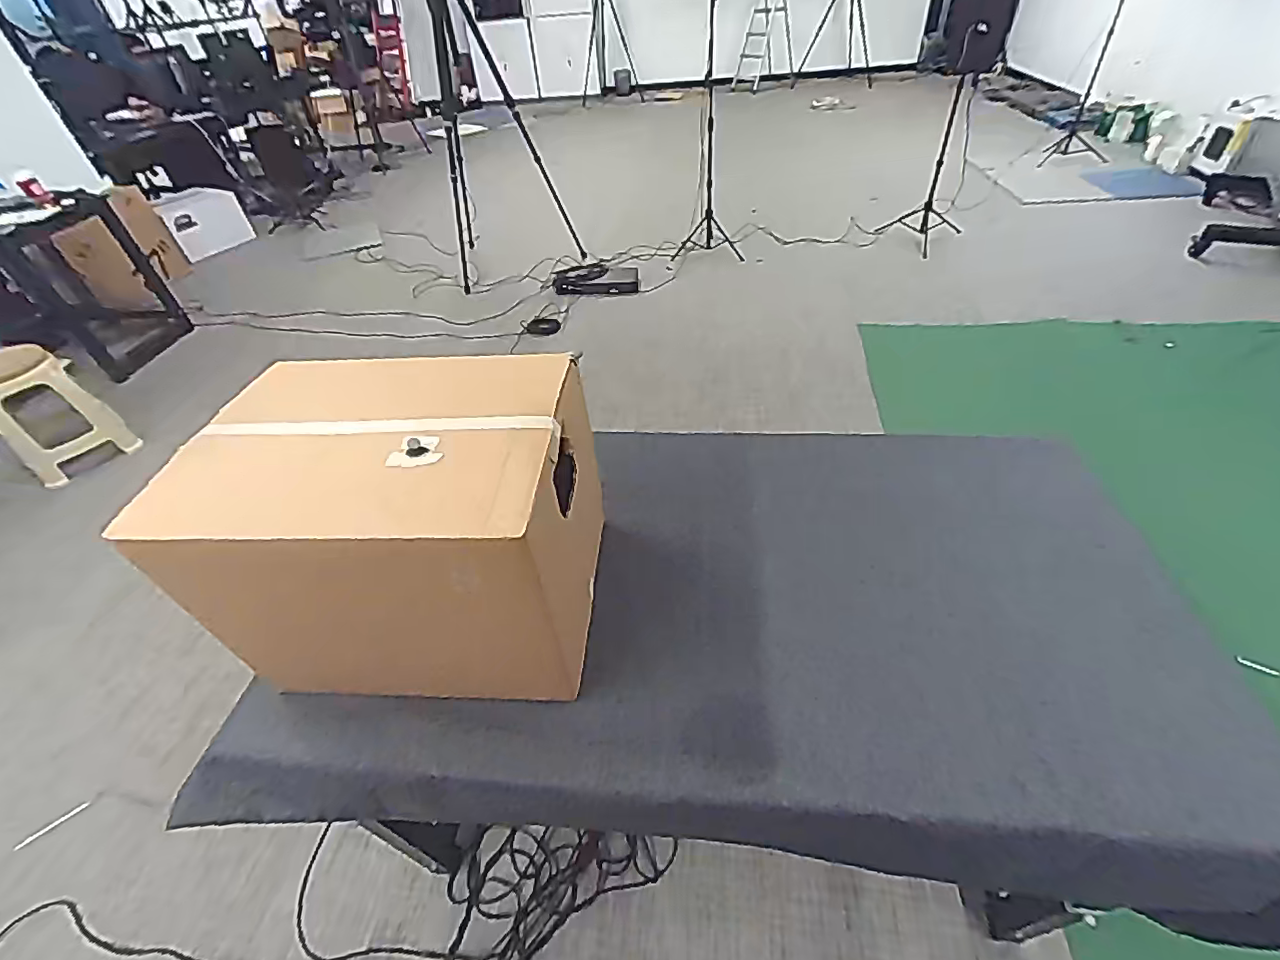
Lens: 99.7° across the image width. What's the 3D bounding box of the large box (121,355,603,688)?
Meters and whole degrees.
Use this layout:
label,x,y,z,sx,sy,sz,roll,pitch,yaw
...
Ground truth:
label,x,y,z,sx,sy,sz,roll,pitch,yaw
large box,-0.272,0.052,0.696,0.408,0.320,0.320,0,44,4
